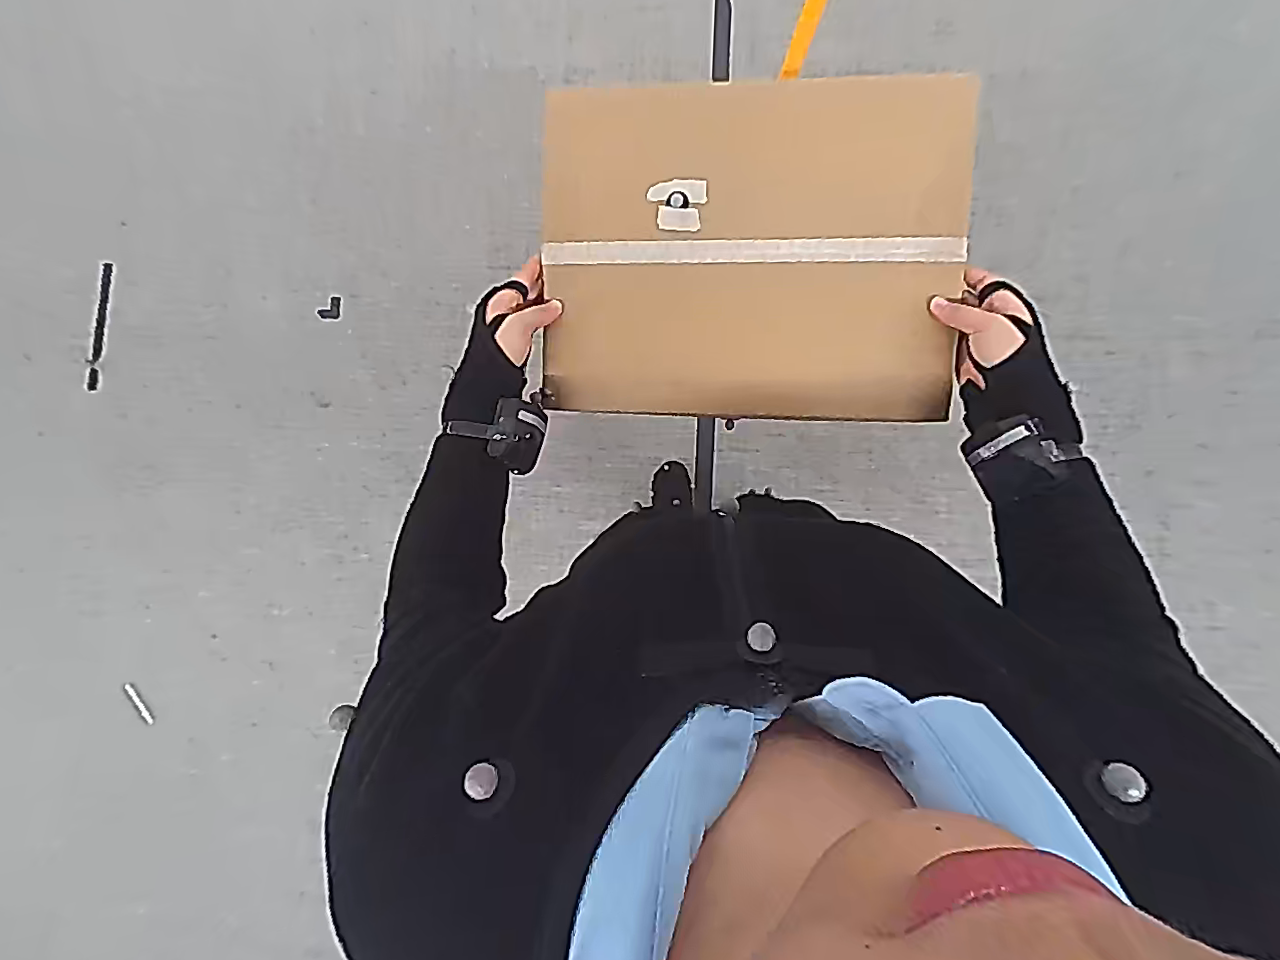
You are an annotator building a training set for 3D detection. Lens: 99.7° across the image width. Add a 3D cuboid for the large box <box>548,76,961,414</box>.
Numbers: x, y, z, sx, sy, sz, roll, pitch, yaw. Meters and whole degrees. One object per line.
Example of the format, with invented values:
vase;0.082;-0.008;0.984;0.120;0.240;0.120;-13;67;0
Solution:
large box;0.122;-0.242;0.687;0.408;0.320;0.320;2;95;7
